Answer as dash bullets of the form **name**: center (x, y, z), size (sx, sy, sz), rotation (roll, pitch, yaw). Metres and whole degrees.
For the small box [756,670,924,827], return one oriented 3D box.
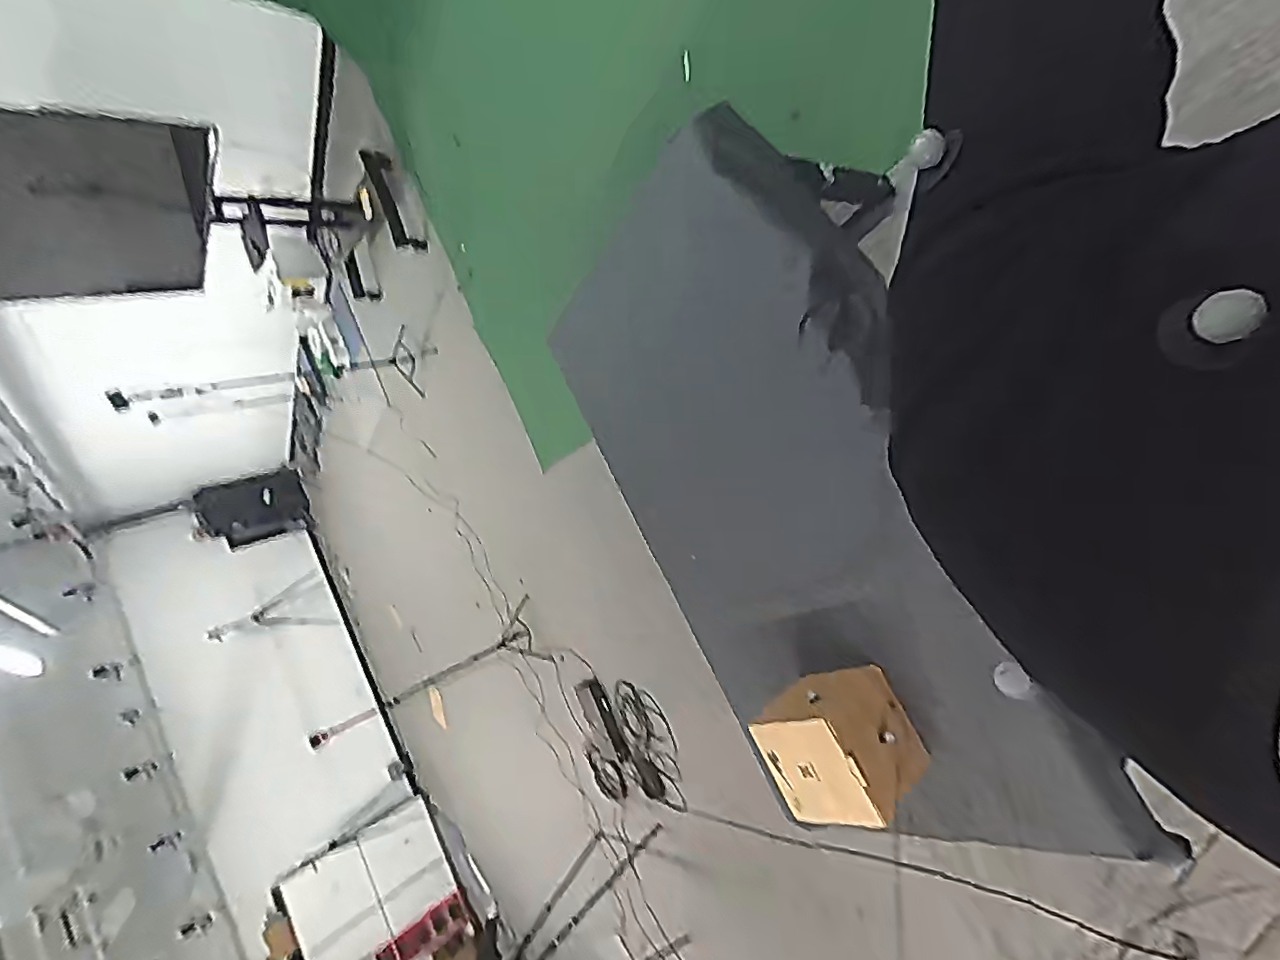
- **small box**: center (0.332, 0.430, 0.884), size (0.179, 0.176, 0.168), rotation (-39, 74, 49)
